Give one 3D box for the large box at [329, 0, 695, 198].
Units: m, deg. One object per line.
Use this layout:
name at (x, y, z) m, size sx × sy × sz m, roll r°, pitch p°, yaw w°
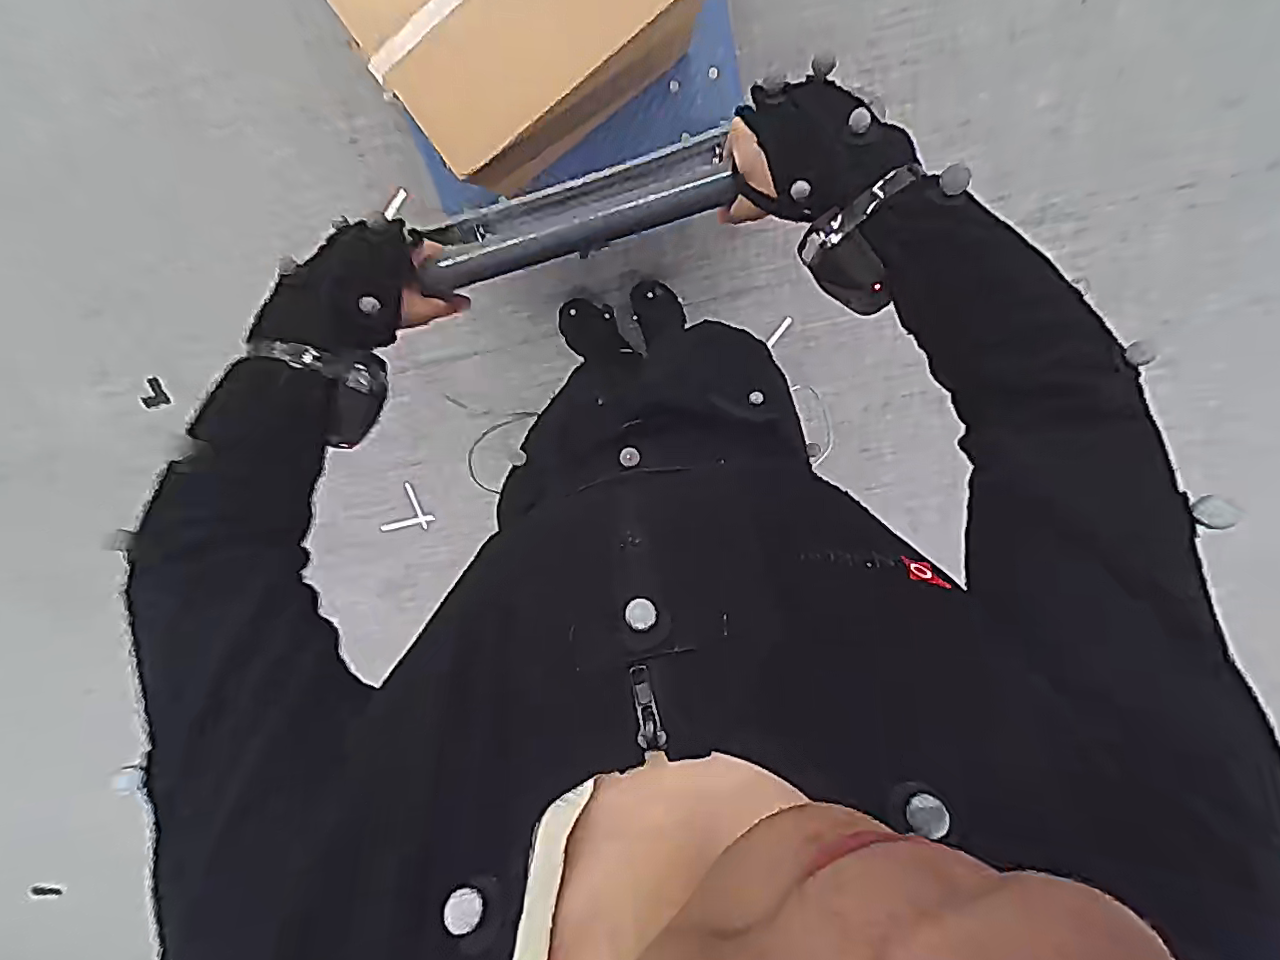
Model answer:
large box at (-0.169, -0.680, 0.774) m, size 0.408 × 0.320 × 0.320 m, roll -33°, pitch 111°, yaw 11°
